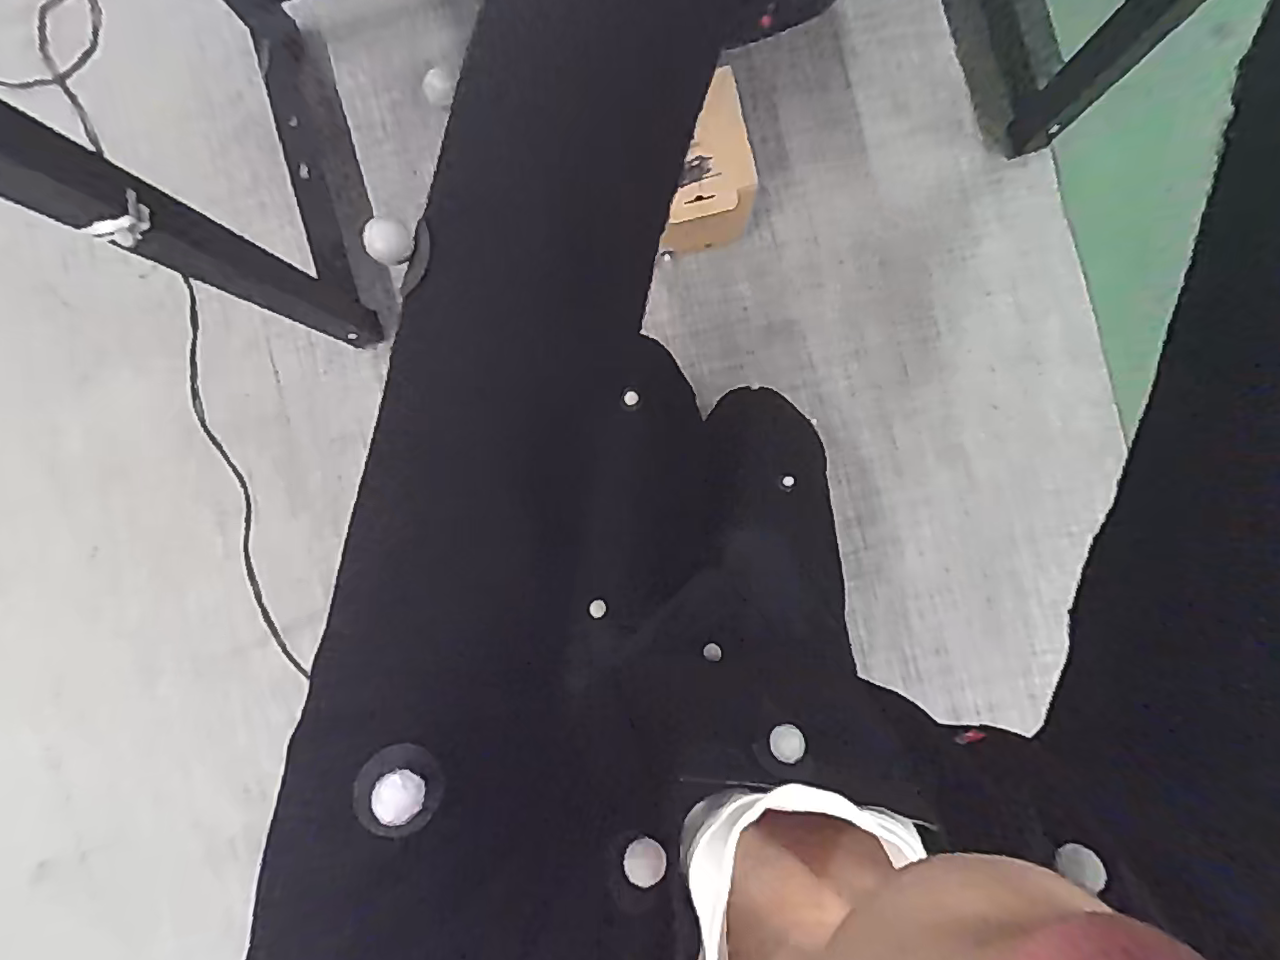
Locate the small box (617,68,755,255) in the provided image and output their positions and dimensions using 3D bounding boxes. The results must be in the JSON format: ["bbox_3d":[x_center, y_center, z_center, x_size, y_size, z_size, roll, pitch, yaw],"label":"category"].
[{"bbox_3d":[0.070,-0.465,0.824,0.168,0.176,0.179,-12,88,4],"label":"small box"}]
